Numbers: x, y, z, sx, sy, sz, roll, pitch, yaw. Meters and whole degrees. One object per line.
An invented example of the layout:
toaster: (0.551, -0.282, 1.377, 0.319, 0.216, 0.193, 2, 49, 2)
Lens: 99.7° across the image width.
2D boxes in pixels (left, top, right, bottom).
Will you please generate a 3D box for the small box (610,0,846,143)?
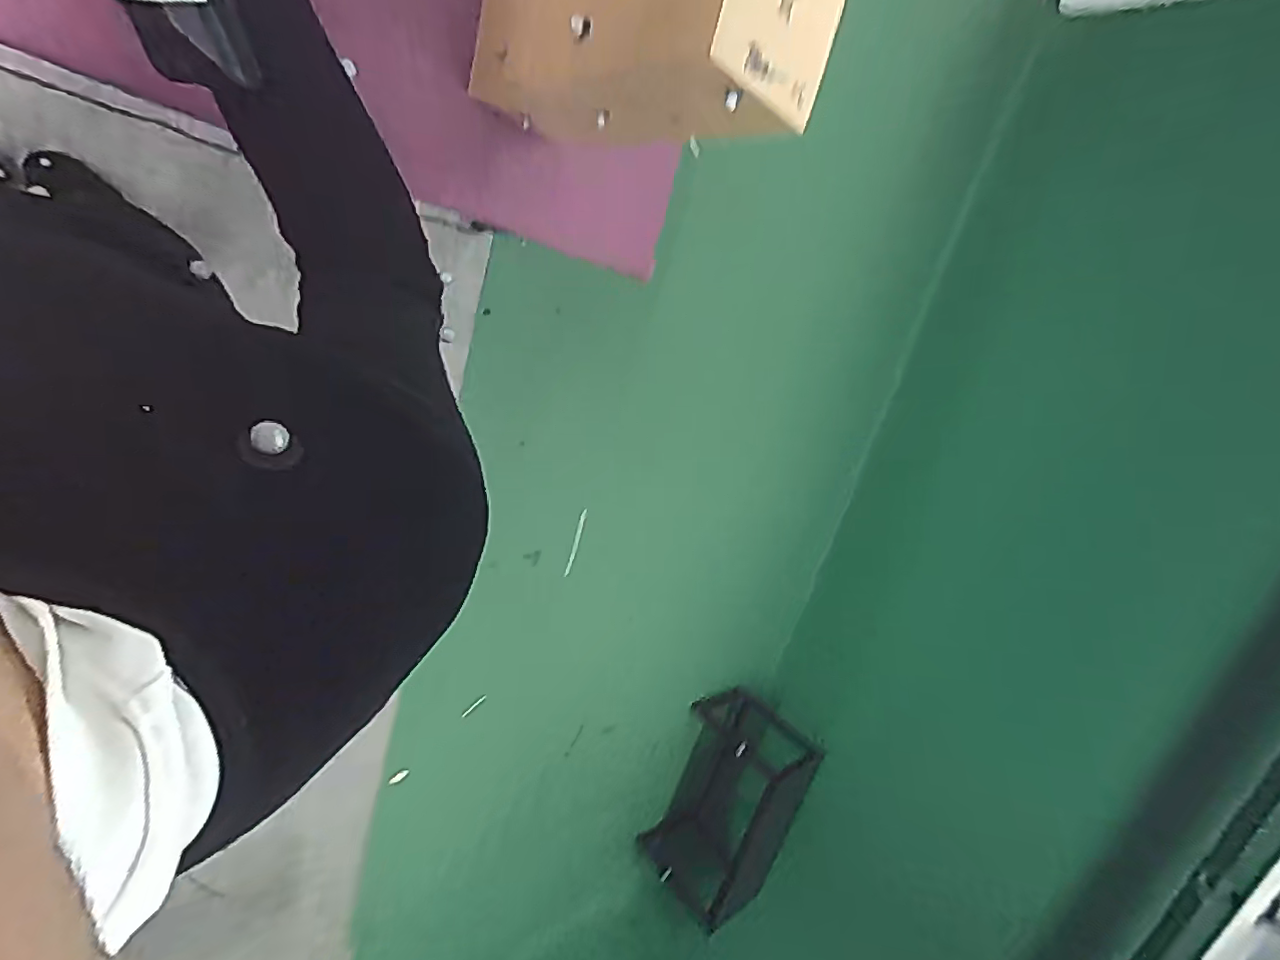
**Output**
small box: (0.090, -0.483, 0.566, 0.168, 0.176, 0.179, -1, 112, -43)
